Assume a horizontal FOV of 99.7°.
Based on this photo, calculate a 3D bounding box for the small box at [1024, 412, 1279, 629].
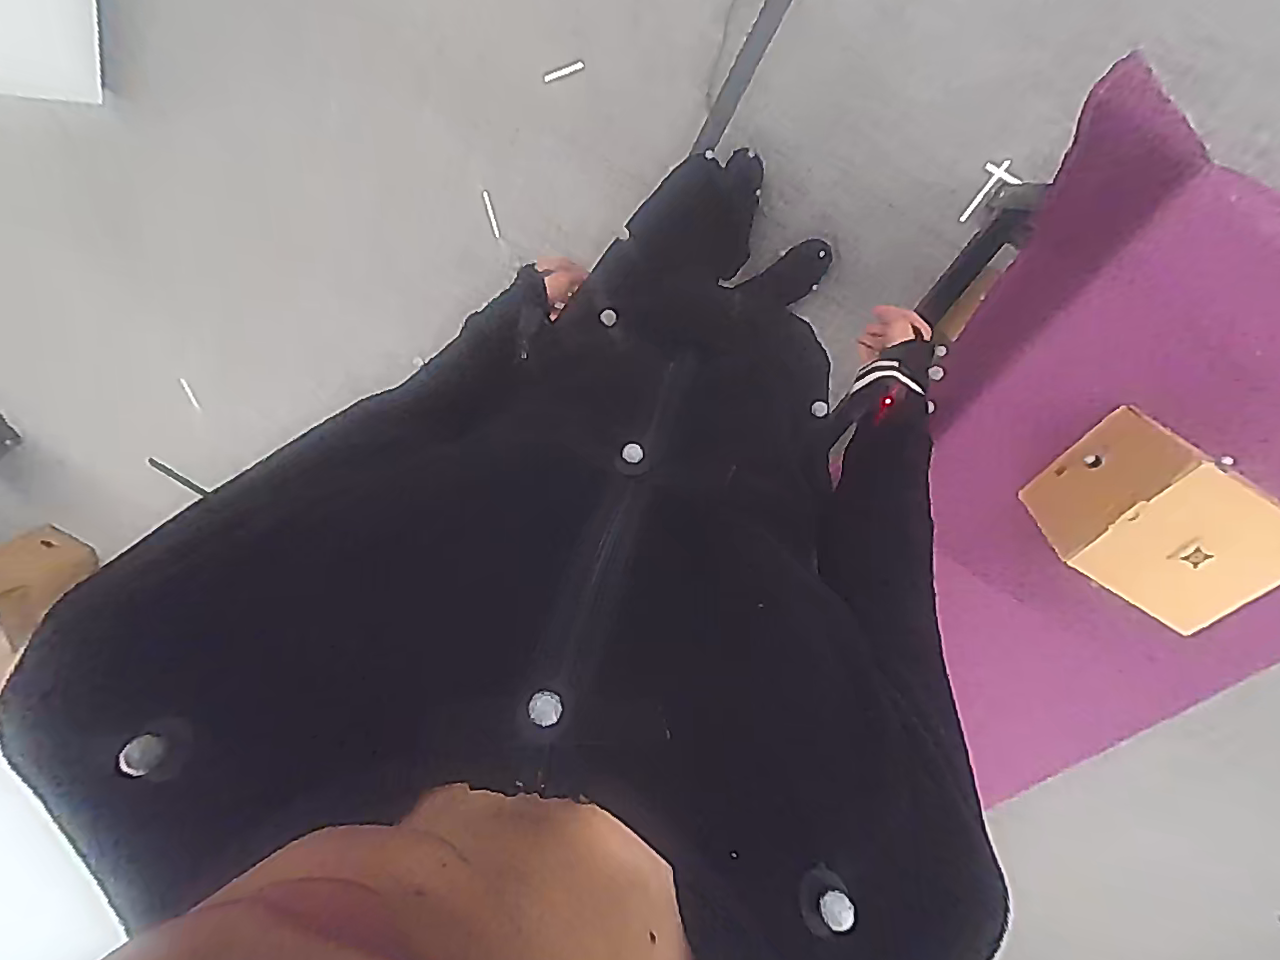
[{"bbox_3d":[0.633,0.041,0.669,0.179,0.176,0.168,31,123,-1],"label":"small box"}]
